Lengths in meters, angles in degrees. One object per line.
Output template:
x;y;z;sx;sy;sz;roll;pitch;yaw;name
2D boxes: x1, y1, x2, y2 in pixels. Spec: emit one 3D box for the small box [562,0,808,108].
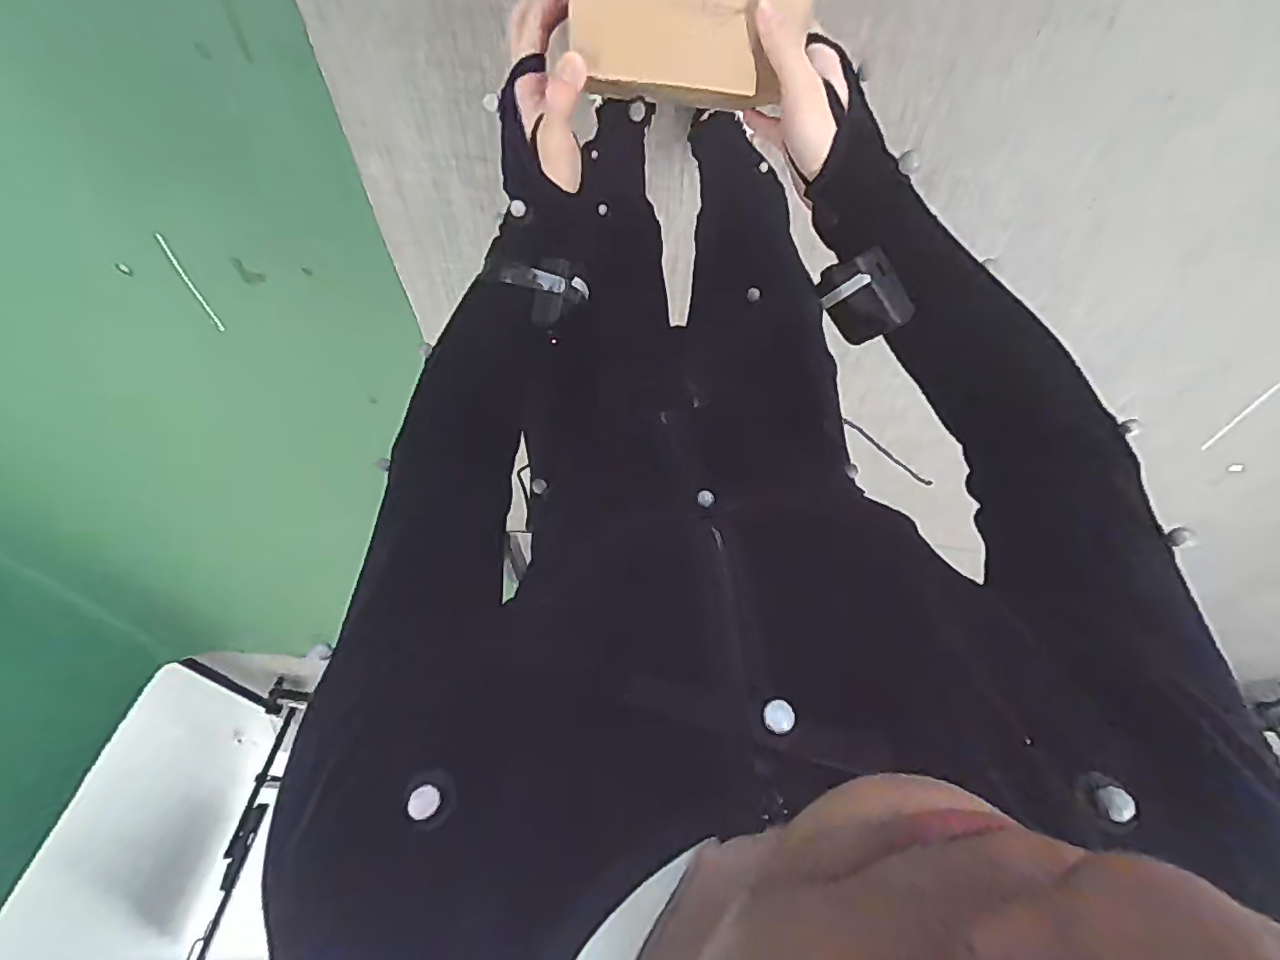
0.027;-0.399;0.408;0.168;0.176;0.179;1;122;-9;small box
